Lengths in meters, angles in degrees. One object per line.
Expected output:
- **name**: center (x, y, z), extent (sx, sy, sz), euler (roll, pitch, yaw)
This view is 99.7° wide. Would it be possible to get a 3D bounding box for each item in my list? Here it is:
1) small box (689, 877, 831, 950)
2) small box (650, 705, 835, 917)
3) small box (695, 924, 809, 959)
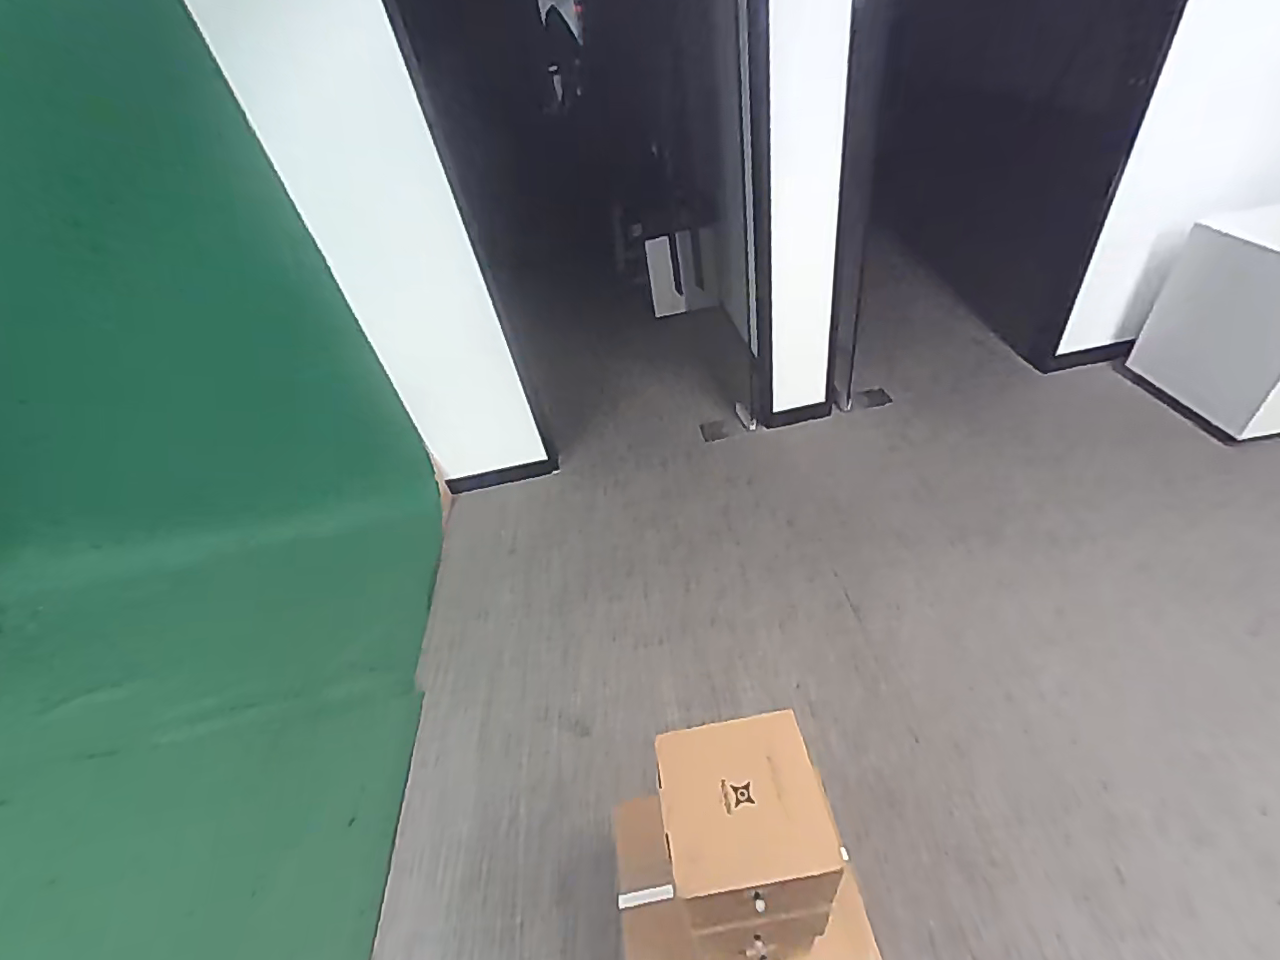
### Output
- **small box**: center (0.144, 0.526, 0.757), extent (0.179, 0.176, 0.168), euler (-13, 42, -2)
- **small box**: center (0.118, 0.403, 0.655), extent (0.179, 0.176, 0.168), euler (-11, 42, 1)
- **small box**: center (0.161, 0.643, 0.871), extent (0.168, 0.176, 0.179), euler (-13, 42, 0)
